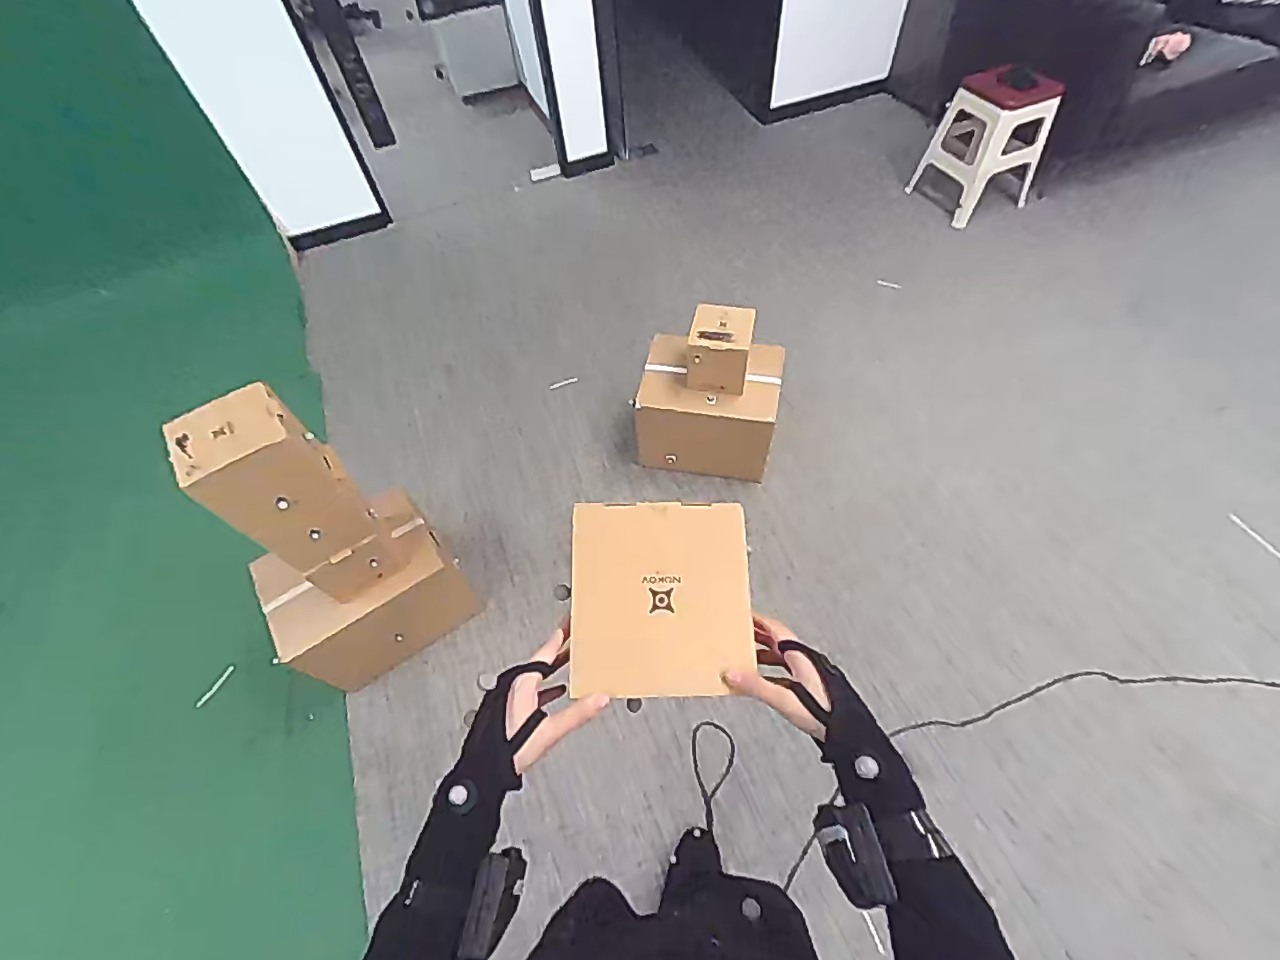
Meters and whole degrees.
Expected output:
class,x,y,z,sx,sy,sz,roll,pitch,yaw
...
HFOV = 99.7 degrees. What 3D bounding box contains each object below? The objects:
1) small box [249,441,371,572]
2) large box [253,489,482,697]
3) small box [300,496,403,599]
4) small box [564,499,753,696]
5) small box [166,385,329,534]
class,x,y,z,sx,sy,sz,roll,pitch,yaw
small box,-0.690,0.059,1.125,0.179,0.176,0.168,-33,60,-17
large box,-0.709,0.305,1.452,0.408,0.320,0.320,-33,58,-16
small box,-0.682,0.155,1.257,0.168,0.176,0.179,-31,59,-17
small box,0.012,0.128,0.564,0.168,0.176,0.179,0,68,-4
small box,-0.703,-0.034,0.990,0.179,0.176,0.168,-31,59,-18
